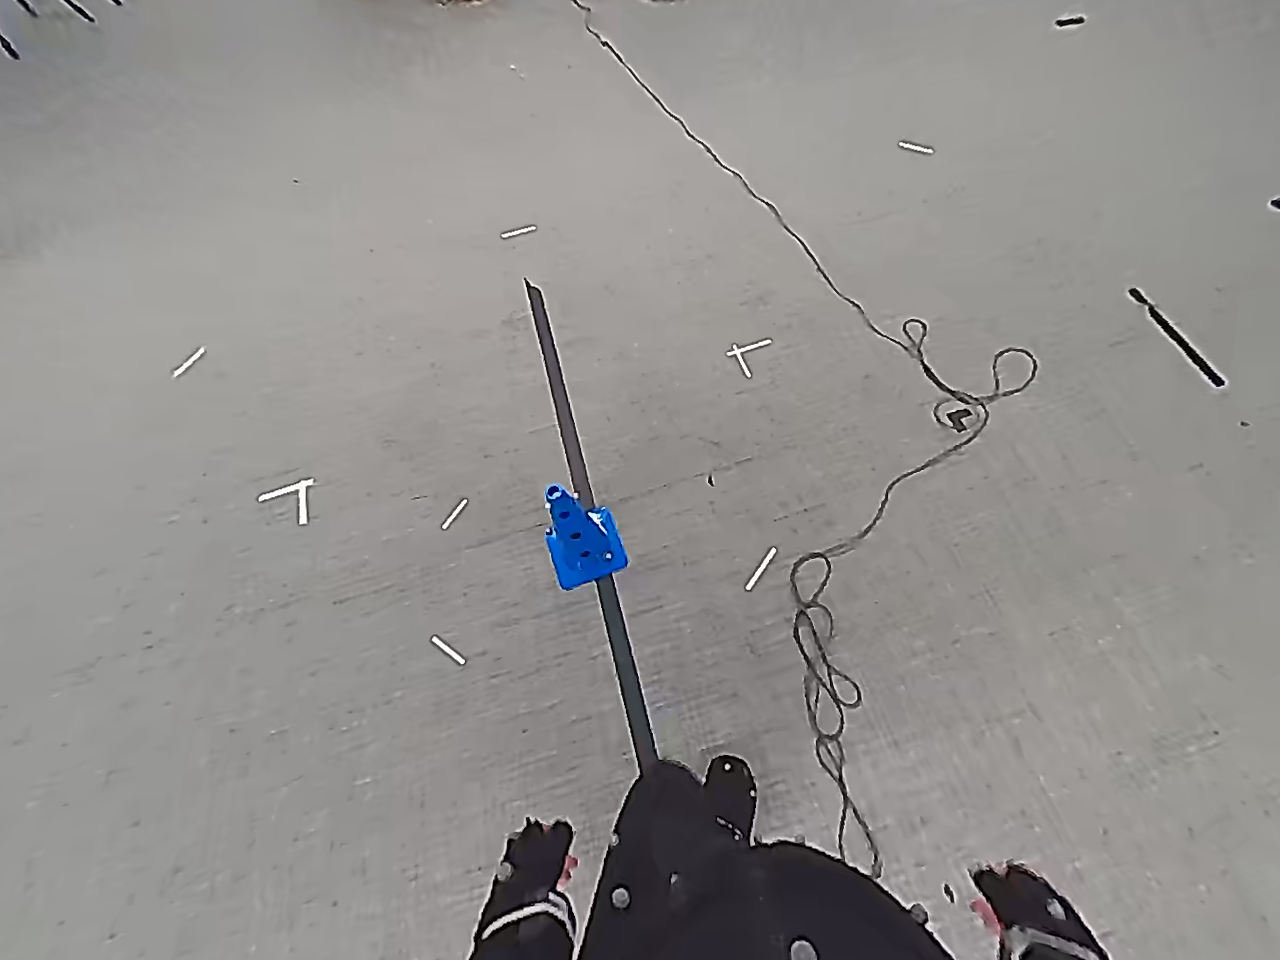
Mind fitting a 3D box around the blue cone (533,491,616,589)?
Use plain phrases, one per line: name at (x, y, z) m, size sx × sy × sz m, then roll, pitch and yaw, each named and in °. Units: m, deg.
blue cone at (-0.192, 0.120, 1.375) m, size 0.192 × 0.380 × 0.193 m, roll -20°, pitch 62°, yaw -3°
